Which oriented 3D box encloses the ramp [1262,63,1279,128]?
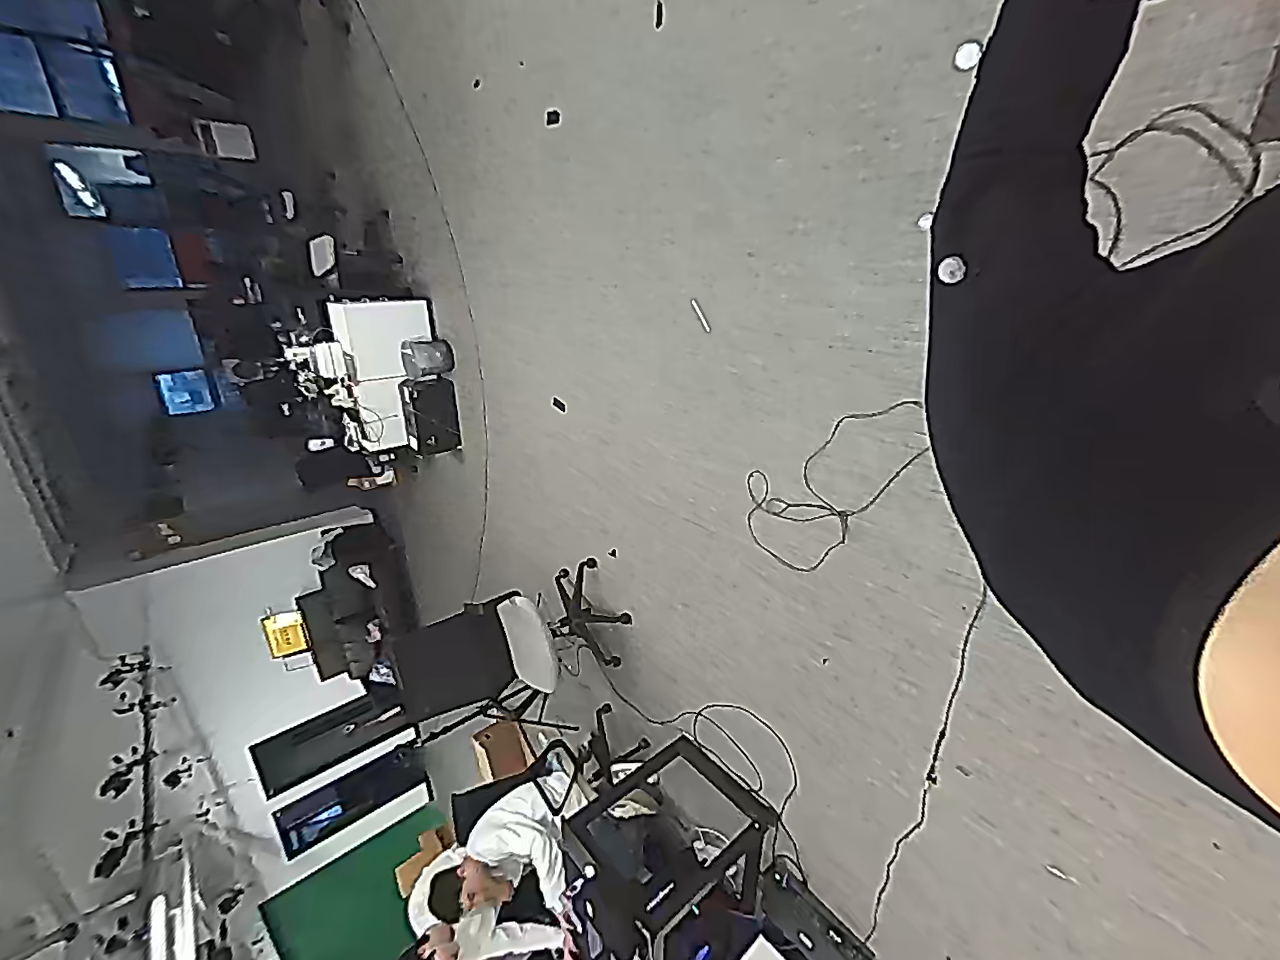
[{"bbox_3d":[1.144,-0.967,0.519,0.509,0.206,0.991,20,120,45],"label":"ramp"}]
